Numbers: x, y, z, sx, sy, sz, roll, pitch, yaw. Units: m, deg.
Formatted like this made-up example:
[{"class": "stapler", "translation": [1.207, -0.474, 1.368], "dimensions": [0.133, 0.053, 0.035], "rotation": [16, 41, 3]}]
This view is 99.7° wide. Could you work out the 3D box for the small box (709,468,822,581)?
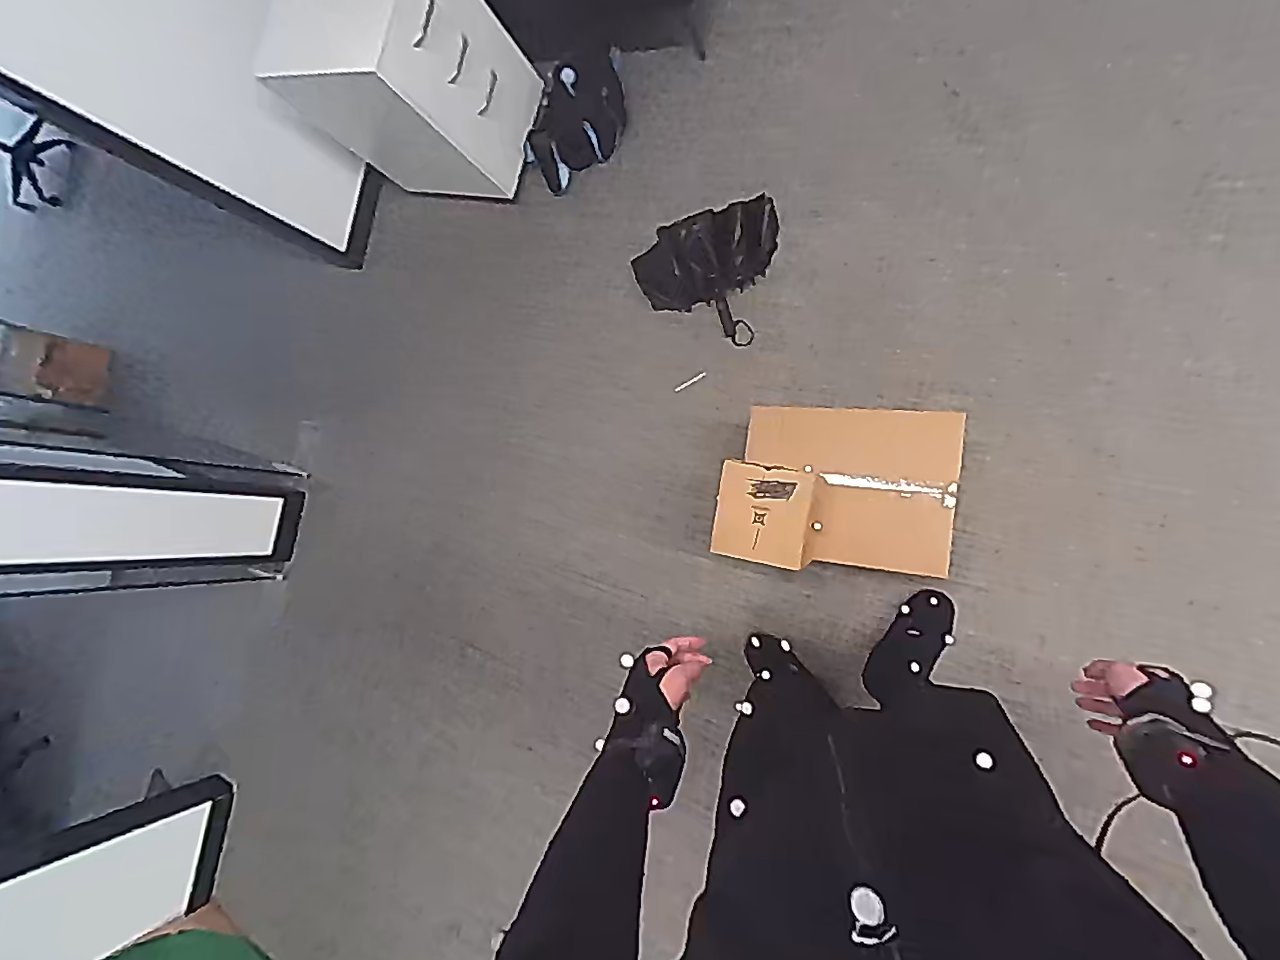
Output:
[{"class": "small box", "translation": [0.244, 0.081, 1.027], "dimensions": [0.168, 0.176, 0.179], "rotation": [9, 91, 24]}]
